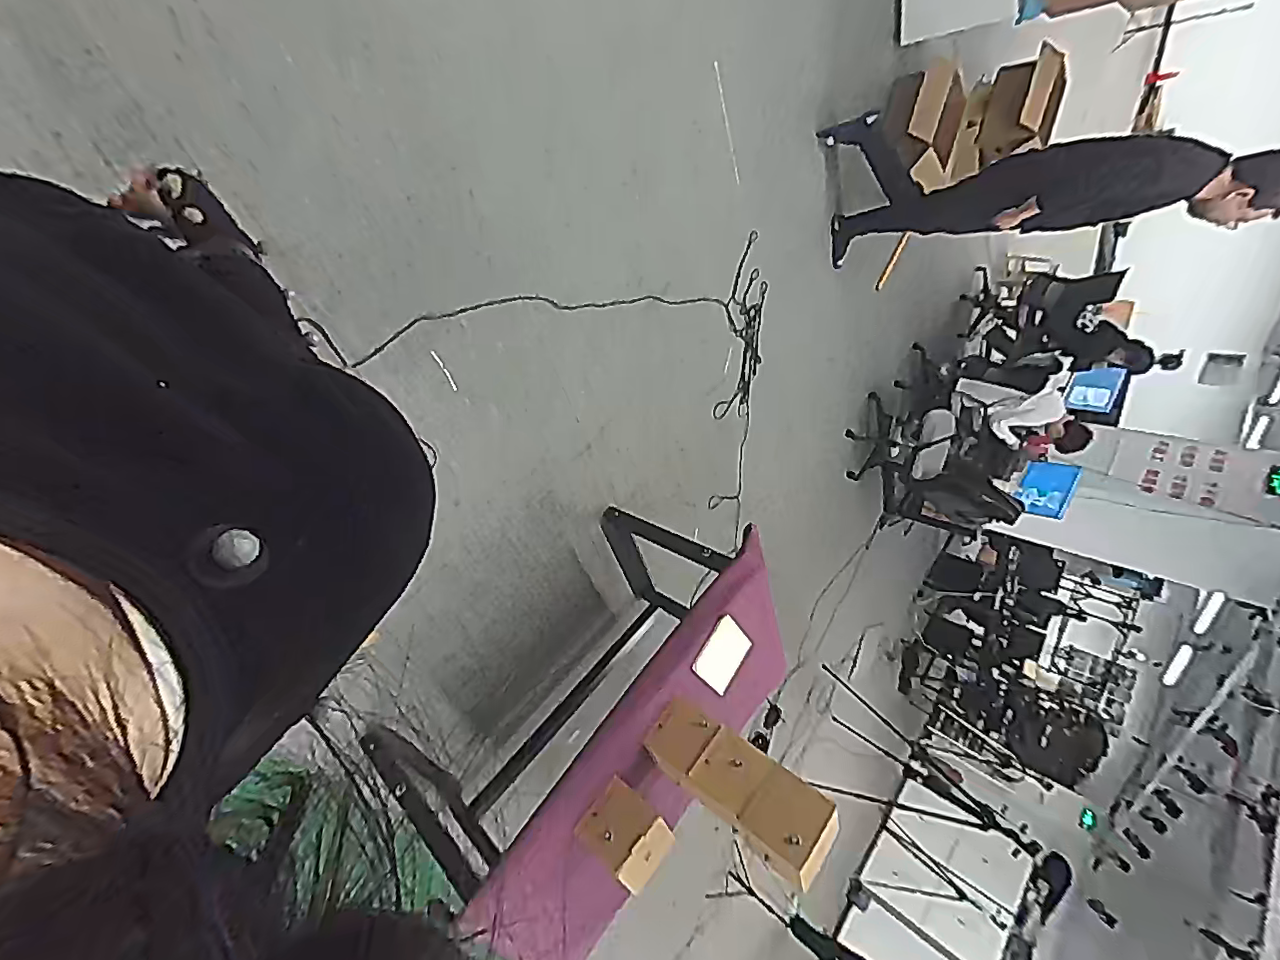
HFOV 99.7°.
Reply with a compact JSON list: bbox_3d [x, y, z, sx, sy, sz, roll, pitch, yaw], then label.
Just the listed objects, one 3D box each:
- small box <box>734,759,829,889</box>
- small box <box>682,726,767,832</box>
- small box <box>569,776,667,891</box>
[{"bbox_3d":[0.343,0.835,1.322,0.179,0.176,0.168,-42,134,-30],"label":"small box"},{"bbox_3d":[0.231,0.789,1.435,0.168,0.176,0.179,-44,135,-28],"label":"small box"},{"bbox_3d":[-0.058,0.917,1.418,0.168,0.176,0.179,-43,134,-28],"label":"small box"}]
